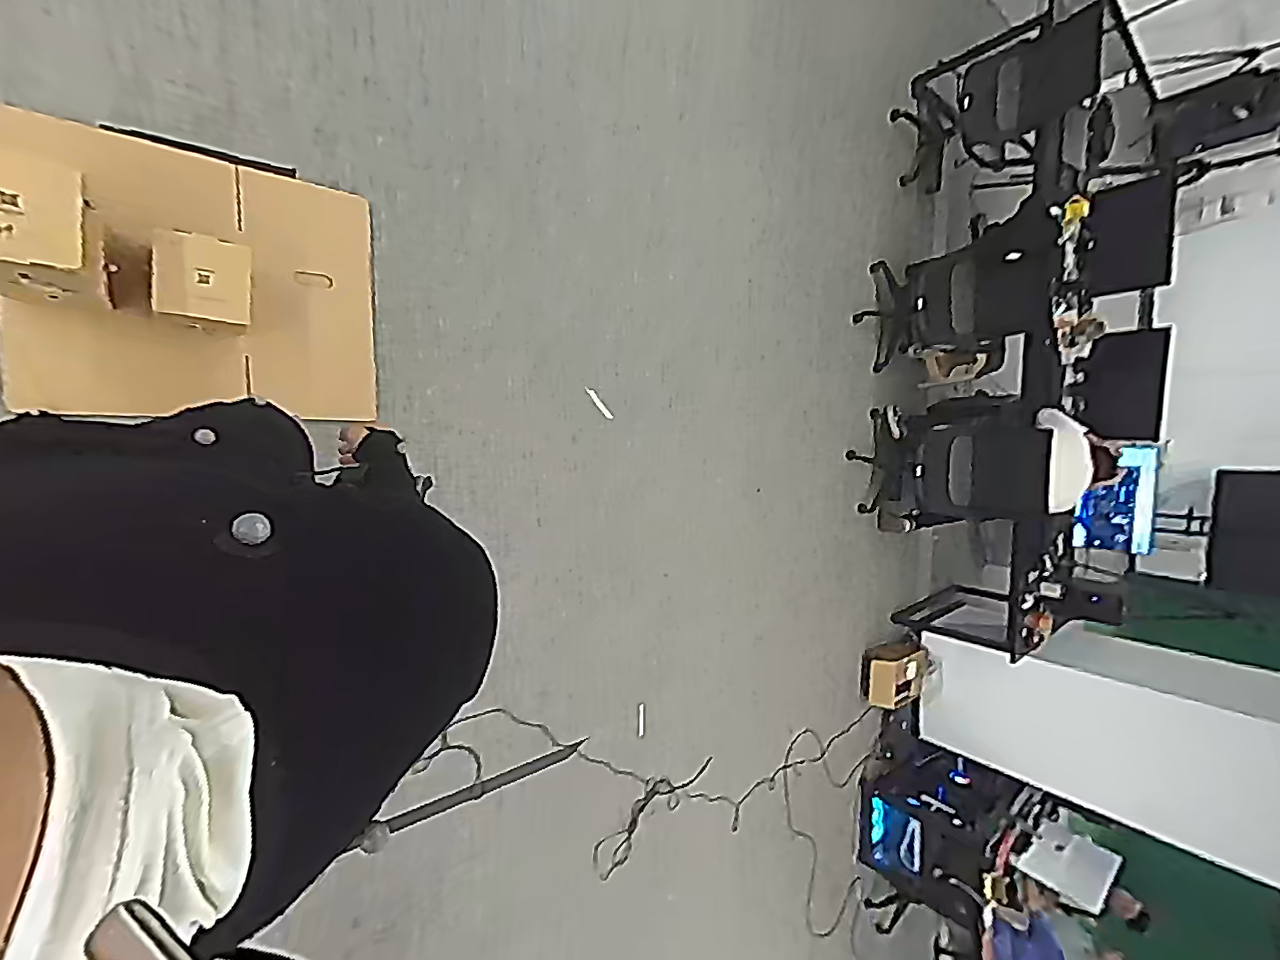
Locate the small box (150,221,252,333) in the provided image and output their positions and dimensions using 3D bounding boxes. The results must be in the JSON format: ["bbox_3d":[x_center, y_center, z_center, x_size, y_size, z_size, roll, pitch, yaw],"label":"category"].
[{"bbox_3d":[-0.971,-0.437,1.196,0.168,0.176,0.179,1,94,-41],"label":"small box"}]

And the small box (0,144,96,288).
[{"bbox_3d":[-1.049,-0.445,0.914,0.168,0.176,0.179,0,94,-39],"label":"small box"}]

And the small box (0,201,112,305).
[{"bbox_3d":[-1.147,-0.449,1.047,0.168,0.176,0.179,-1,95,-39],"label":"small box"}]
